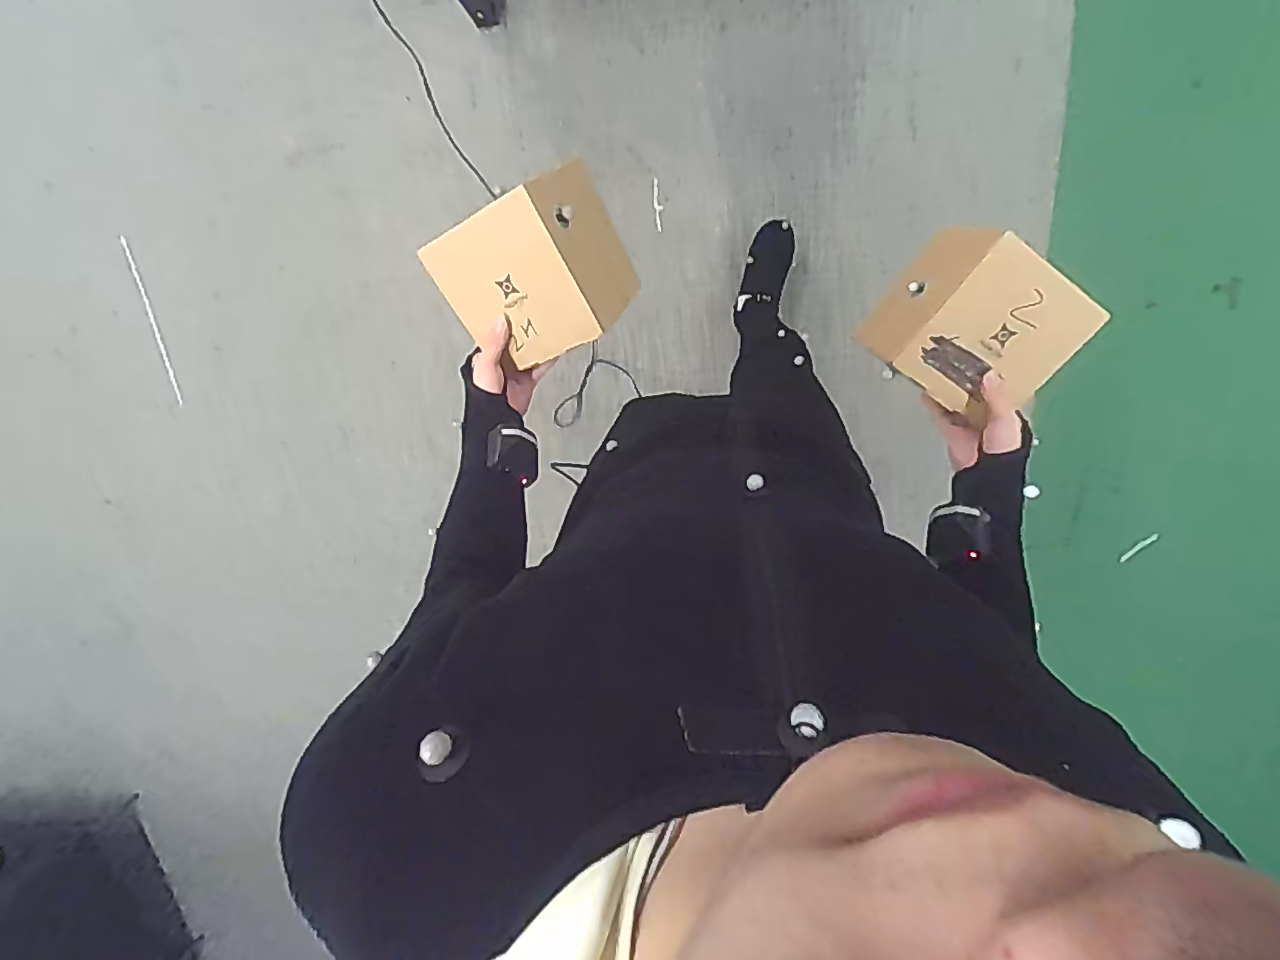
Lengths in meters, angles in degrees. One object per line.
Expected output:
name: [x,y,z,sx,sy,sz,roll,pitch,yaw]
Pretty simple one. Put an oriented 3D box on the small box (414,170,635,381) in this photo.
small box: [-0.128,-0.256,0.668,0.168,0.176,0.179,-14,122,28]
